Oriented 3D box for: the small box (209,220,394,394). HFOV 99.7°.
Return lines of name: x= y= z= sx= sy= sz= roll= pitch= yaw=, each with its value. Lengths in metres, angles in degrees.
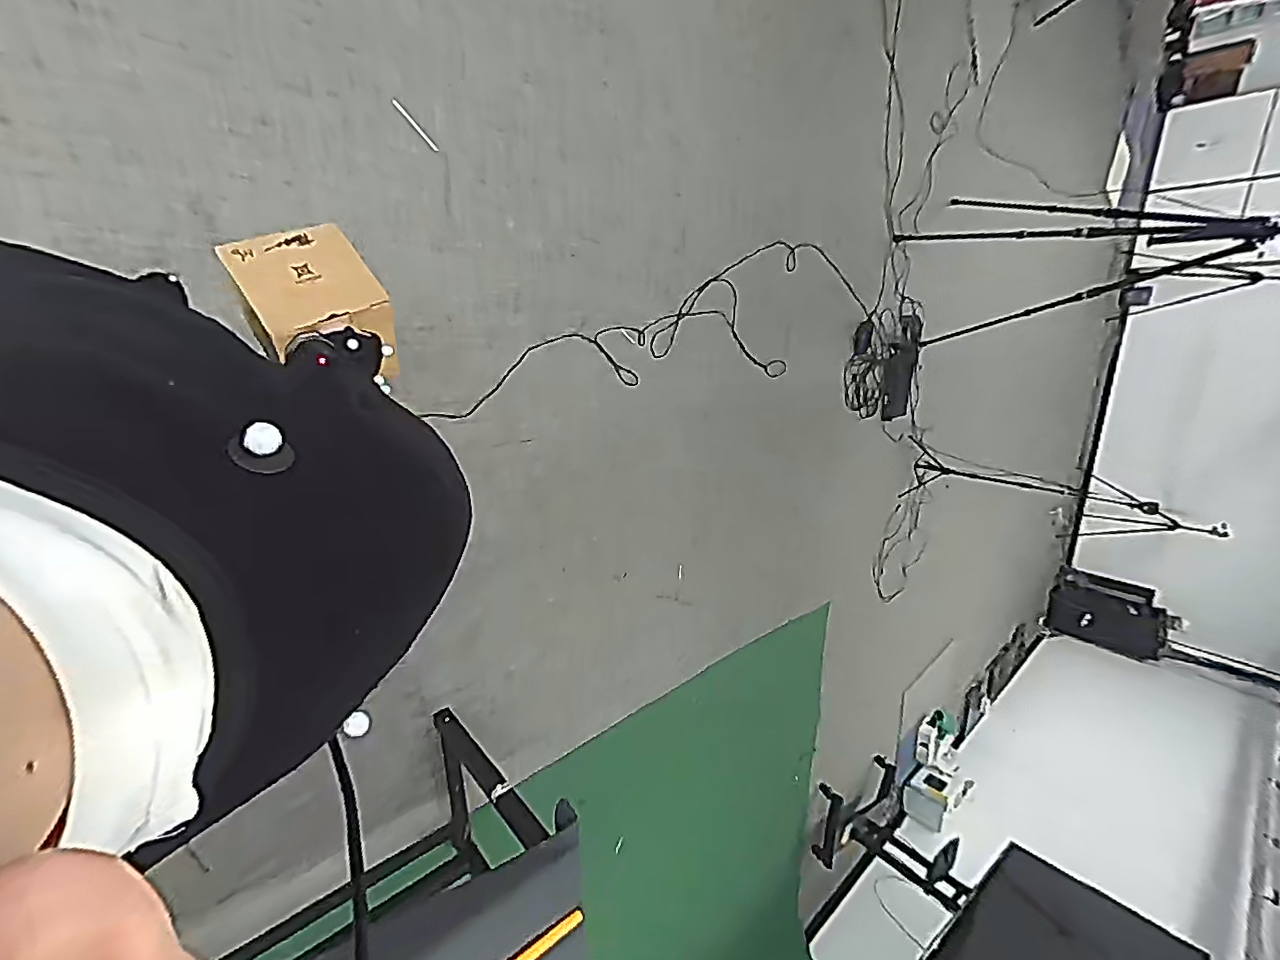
small box: x=-0.505 y=-0.257 z=0.836 sx=0.168 sy=0.179 sz=0.176 roll=-34 pitch=167 yaw=-29
